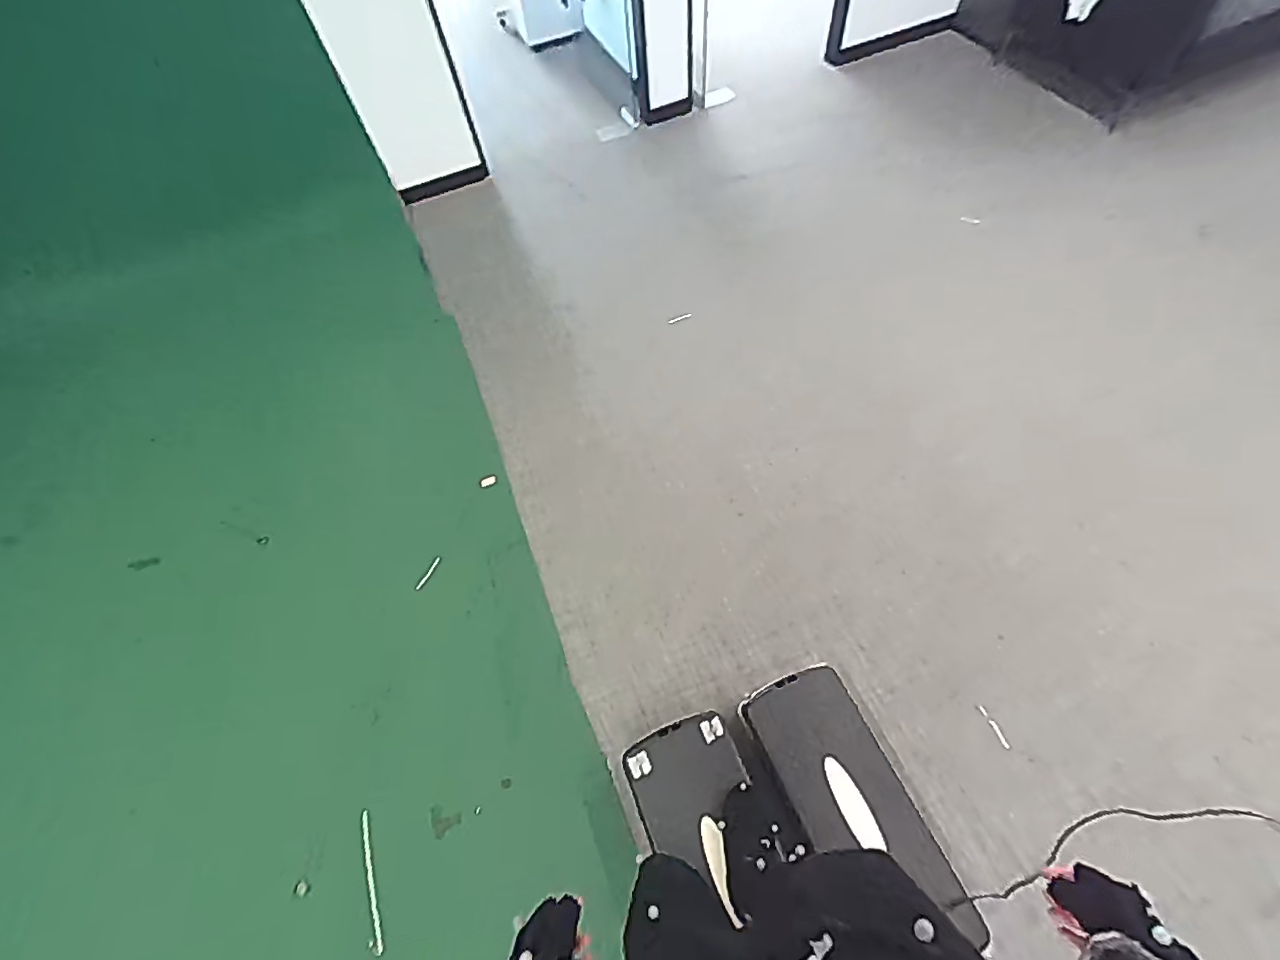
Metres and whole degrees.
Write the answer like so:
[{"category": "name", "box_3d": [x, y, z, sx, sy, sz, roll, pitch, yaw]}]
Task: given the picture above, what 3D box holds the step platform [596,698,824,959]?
[{"category": "step platform", "box_3d": [0.154, 0.813, 1.068, 0.286, 0.204, 0.684, -22, 62, -8]}]
